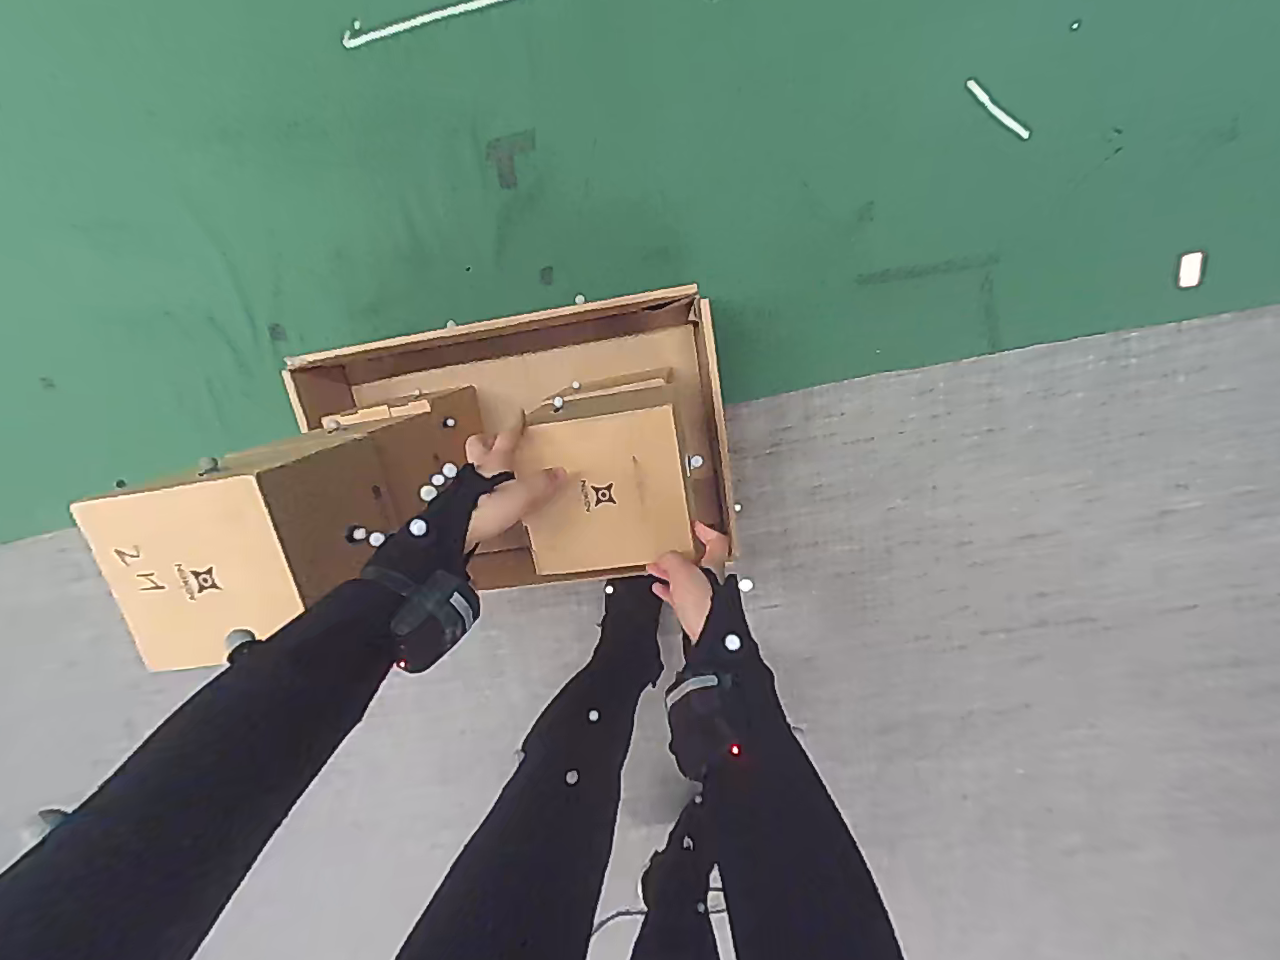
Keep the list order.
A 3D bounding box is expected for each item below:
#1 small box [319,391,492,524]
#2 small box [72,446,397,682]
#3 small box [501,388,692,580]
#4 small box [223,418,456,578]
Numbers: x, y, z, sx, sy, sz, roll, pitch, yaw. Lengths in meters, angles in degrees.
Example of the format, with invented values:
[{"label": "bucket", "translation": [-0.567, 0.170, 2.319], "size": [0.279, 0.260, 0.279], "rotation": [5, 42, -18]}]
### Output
[{"label": "small box", "translation": [-0.351, -0.032, 0.849], "size": [0.168, 0.176, 0.179], "rotation": [-9, 106, 7]}, {"label": "small box", "translation": [-0.369, 0.071, 0.537], "size": [0.179, 0.176, 0.168], "rotation": [-9, 105, 7]}, {"label": "small box", "translation": [-0.035, -0.004, 0.628], "size": [0.179, 0.176, 0.168], "rotation": [-9, 107, 7]}, {"label": "small box", "translation": [-0.367, 0.024, 0.695], "size": [0.179, 0.176, 0.168], "rotation": [-9, 106, 6]}]
